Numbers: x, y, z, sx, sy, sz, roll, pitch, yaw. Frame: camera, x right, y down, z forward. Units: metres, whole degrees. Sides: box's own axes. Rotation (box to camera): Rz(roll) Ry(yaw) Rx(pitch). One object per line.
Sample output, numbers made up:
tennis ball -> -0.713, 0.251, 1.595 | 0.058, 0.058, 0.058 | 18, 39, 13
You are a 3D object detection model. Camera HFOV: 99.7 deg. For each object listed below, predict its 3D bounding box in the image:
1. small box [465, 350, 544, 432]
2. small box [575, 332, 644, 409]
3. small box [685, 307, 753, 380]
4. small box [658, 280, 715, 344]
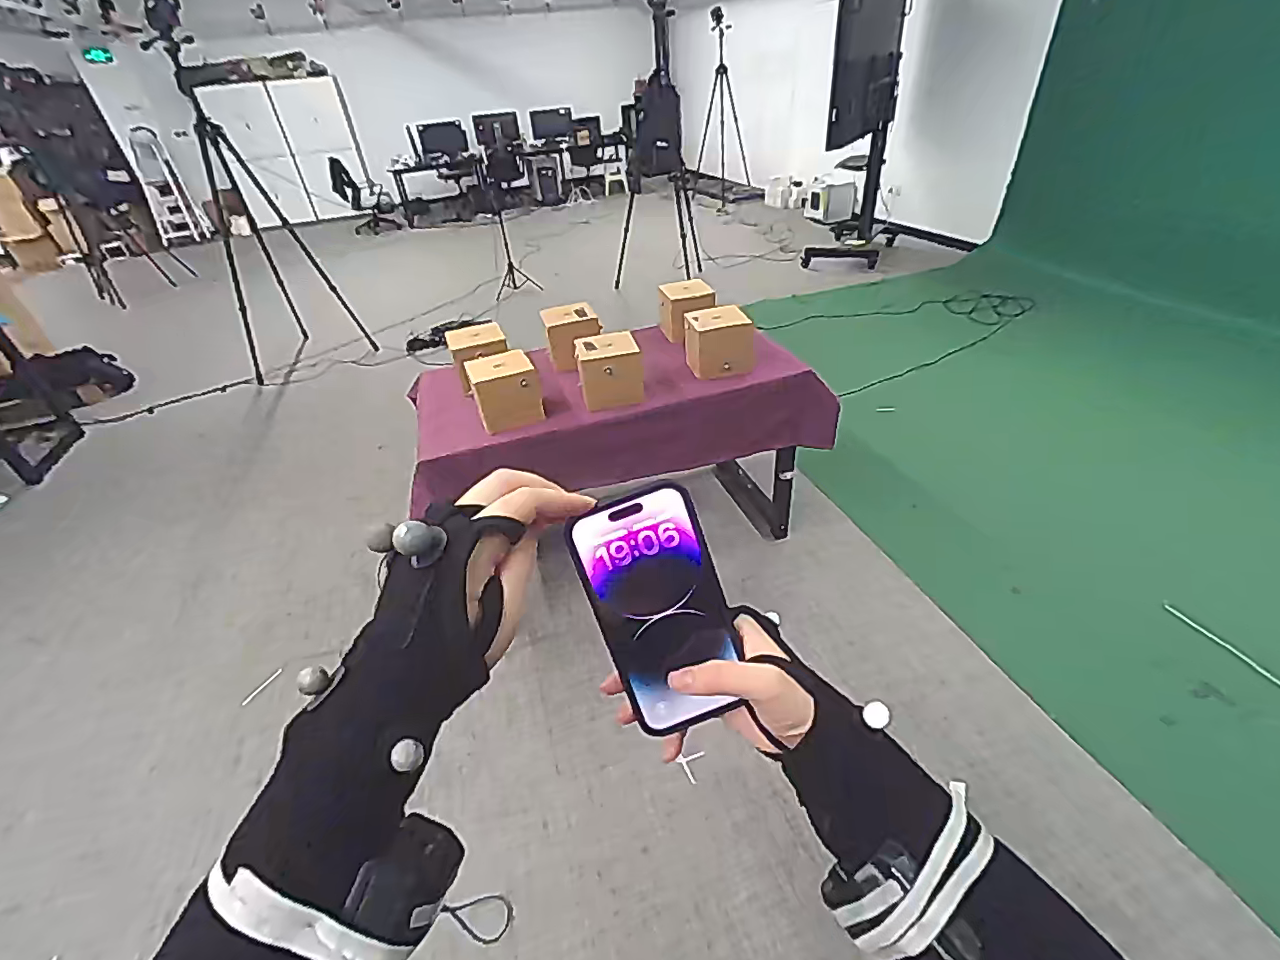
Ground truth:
small box -> -0.395, -0.259, 1.585 | 0.179, 0.176, 0.168 | -17, 38, -17
small box -> -0.093, -0.329, 1.635 | 0.179, 0.176, 0.168 | -10, 37, -7
small box -> 0.247, -0.438, 1.734 | 0.179, 0.176, 0.168 | -10, 37, -6
small box -> 0.167, -0.616, 1.980 | 0.168, 0.176, 0.179 | -13, 38, -8
